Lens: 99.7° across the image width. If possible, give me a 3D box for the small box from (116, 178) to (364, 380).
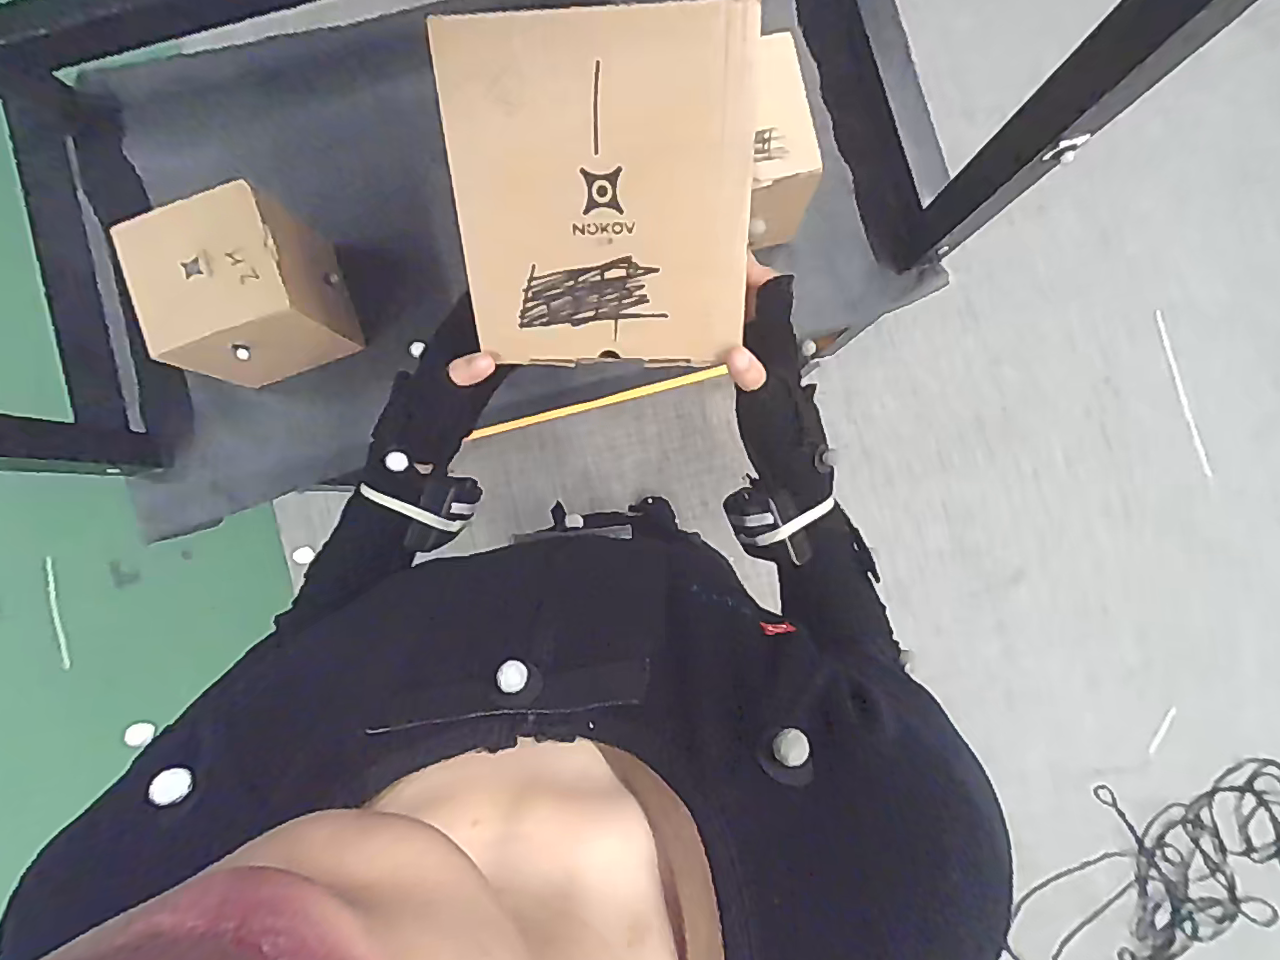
[{"bbox_3d":[-0.506,-0.246,0.708,0.179,0.176,0.168,-20,88,0],"label":"small box"}]
